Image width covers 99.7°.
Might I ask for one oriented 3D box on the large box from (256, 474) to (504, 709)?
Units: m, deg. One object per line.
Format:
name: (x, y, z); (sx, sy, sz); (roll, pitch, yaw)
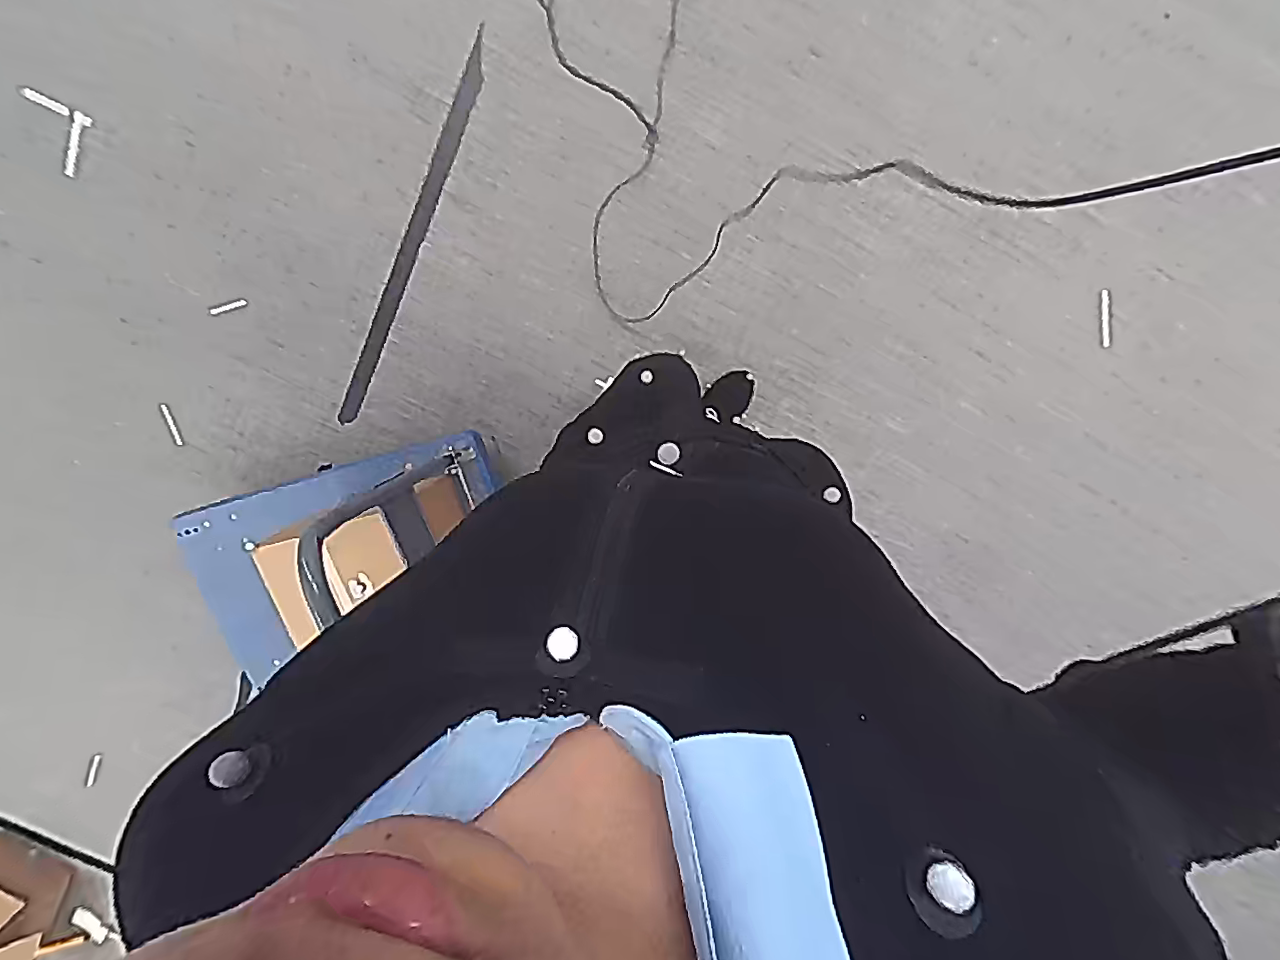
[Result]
large box: (-0.564, 0.241, 1.256); (0.320, 0.320, 0.408); (-16, 102, 6)
